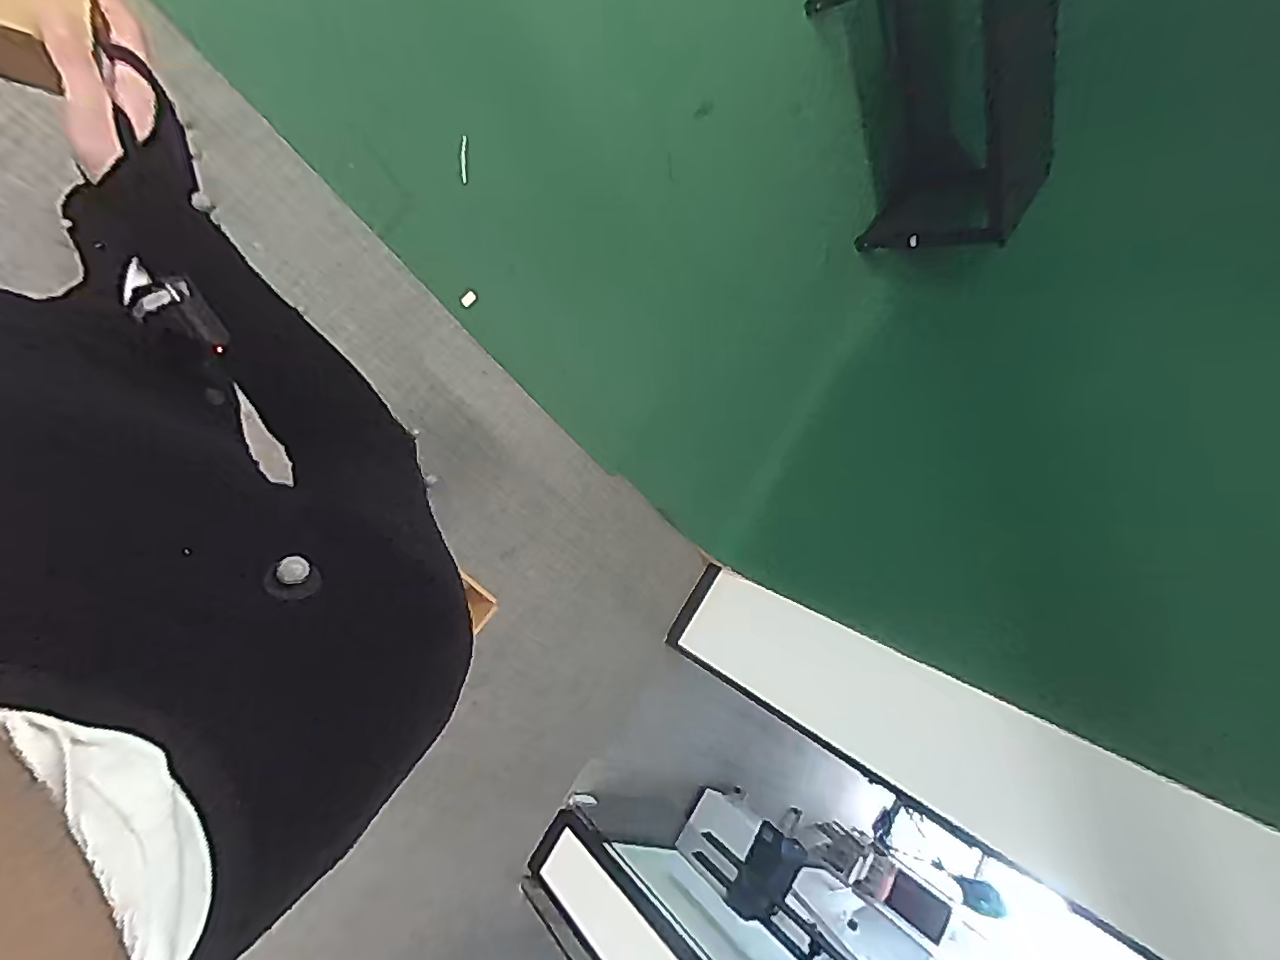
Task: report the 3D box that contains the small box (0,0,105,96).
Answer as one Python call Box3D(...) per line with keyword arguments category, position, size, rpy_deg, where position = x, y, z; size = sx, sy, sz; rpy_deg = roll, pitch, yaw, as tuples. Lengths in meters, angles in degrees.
Box3D(category="small box", position=(-0.487, -0.404, 0.367), size=(0.168, 0.176, 0.179), rpy_deg=(-4, 109, -41))
